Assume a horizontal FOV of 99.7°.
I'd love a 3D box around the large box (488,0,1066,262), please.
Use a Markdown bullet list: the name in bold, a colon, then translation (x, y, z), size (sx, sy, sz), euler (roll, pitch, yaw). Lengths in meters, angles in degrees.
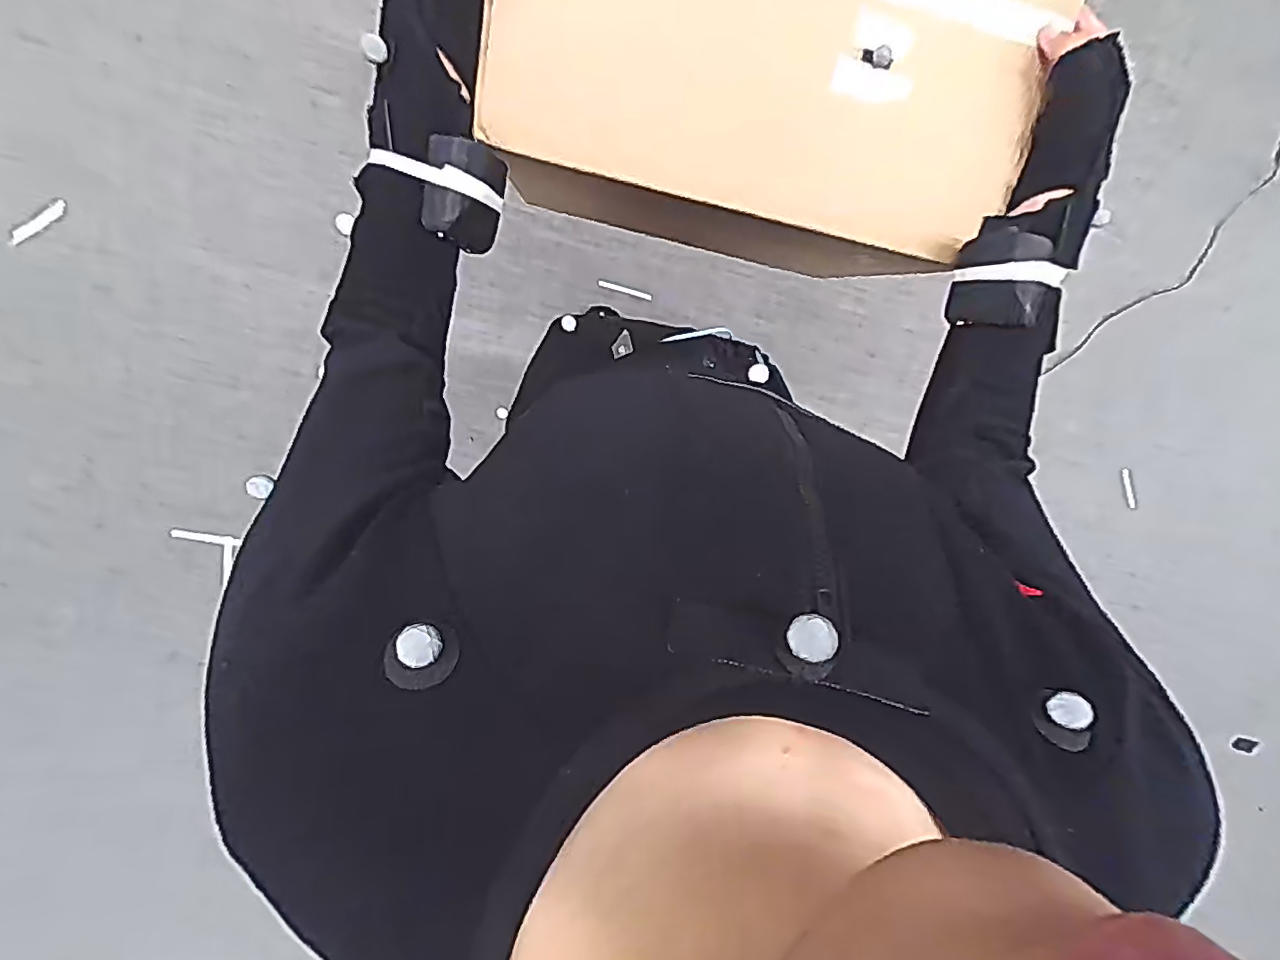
- **large box**: translation (0.095, -0.411, 0.508), size (0.408, 0.320, 0.320), euler (10, 110, -10)
